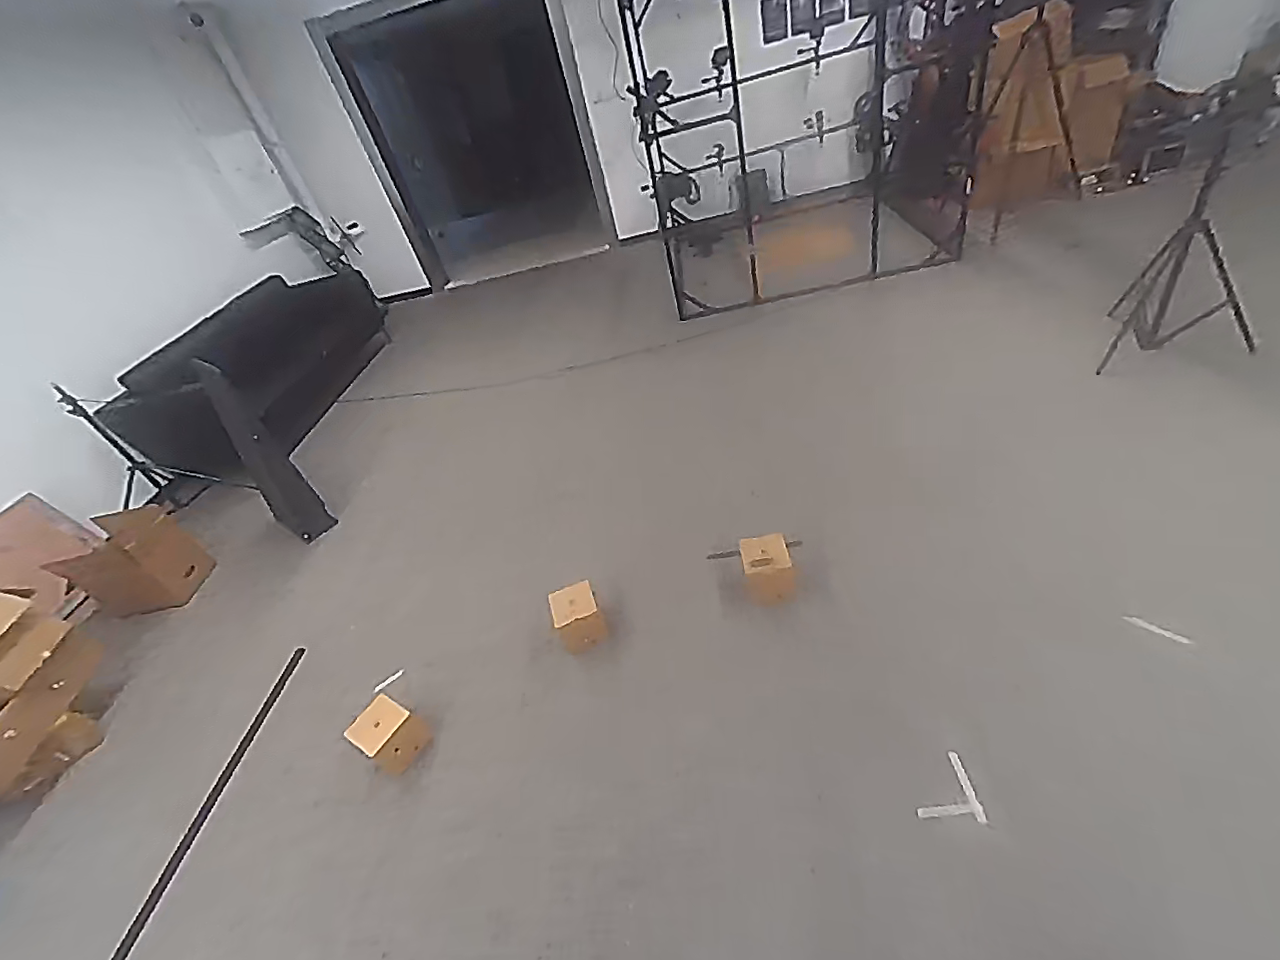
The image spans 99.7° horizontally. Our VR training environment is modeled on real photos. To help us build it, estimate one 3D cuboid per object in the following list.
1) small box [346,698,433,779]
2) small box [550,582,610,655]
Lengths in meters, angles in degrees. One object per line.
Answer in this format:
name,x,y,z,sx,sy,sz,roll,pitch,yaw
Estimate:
small box,-0.846,0.884,1.841,0.179,0.176,0.168,12,46,33
small box,-0.228,0.528,2.051,0.168,0.176,0.179,-22,37,-5
